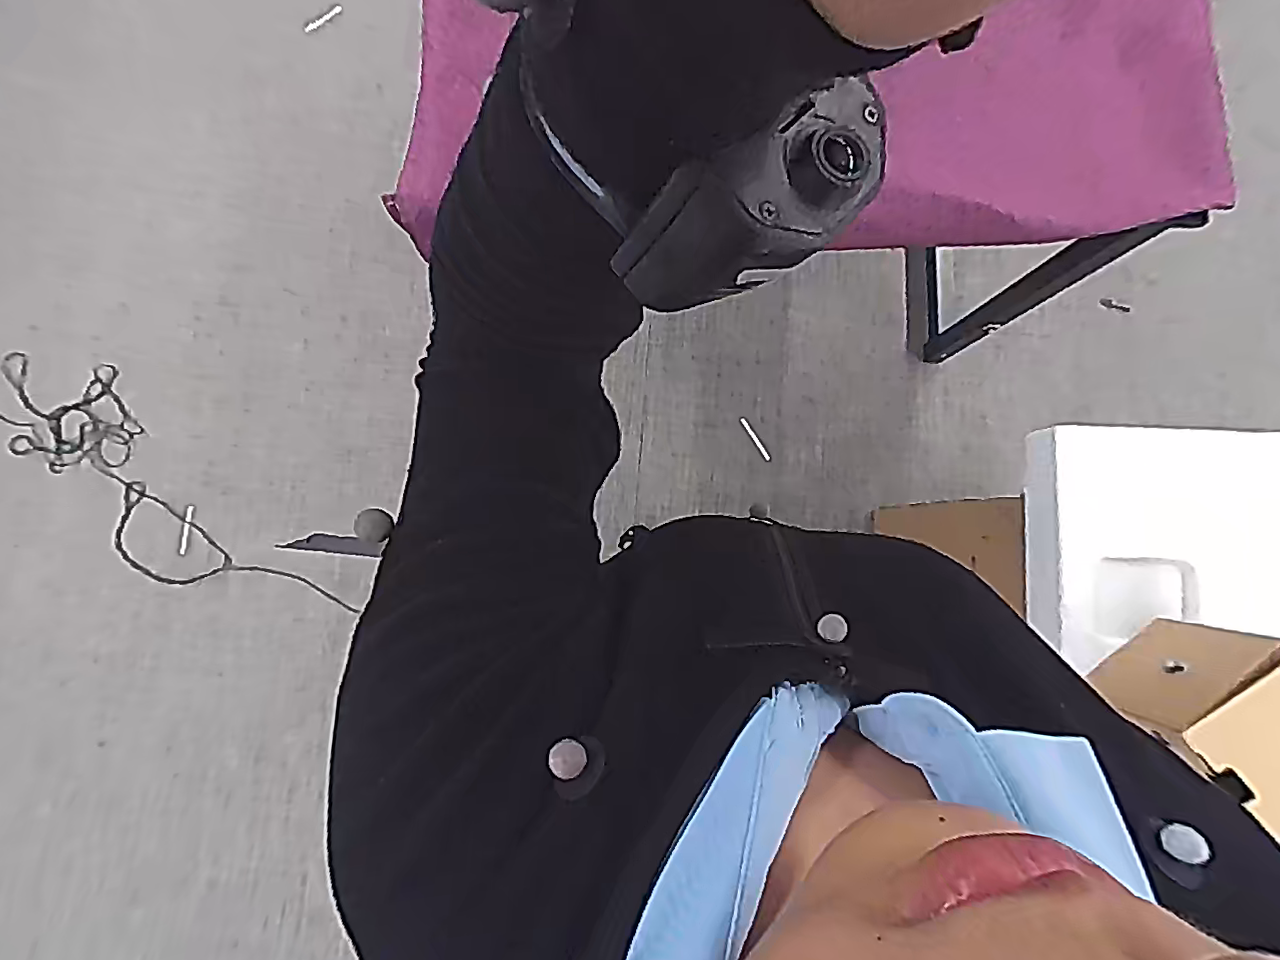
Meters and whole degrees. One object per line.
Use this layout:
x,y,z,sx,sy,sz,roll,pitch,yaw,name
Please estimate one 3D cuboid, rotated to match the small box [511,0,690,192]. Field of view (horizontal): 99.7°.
-0.051,-0.564,0.769,0.168,0.176,0.179,37,85,5,small box
